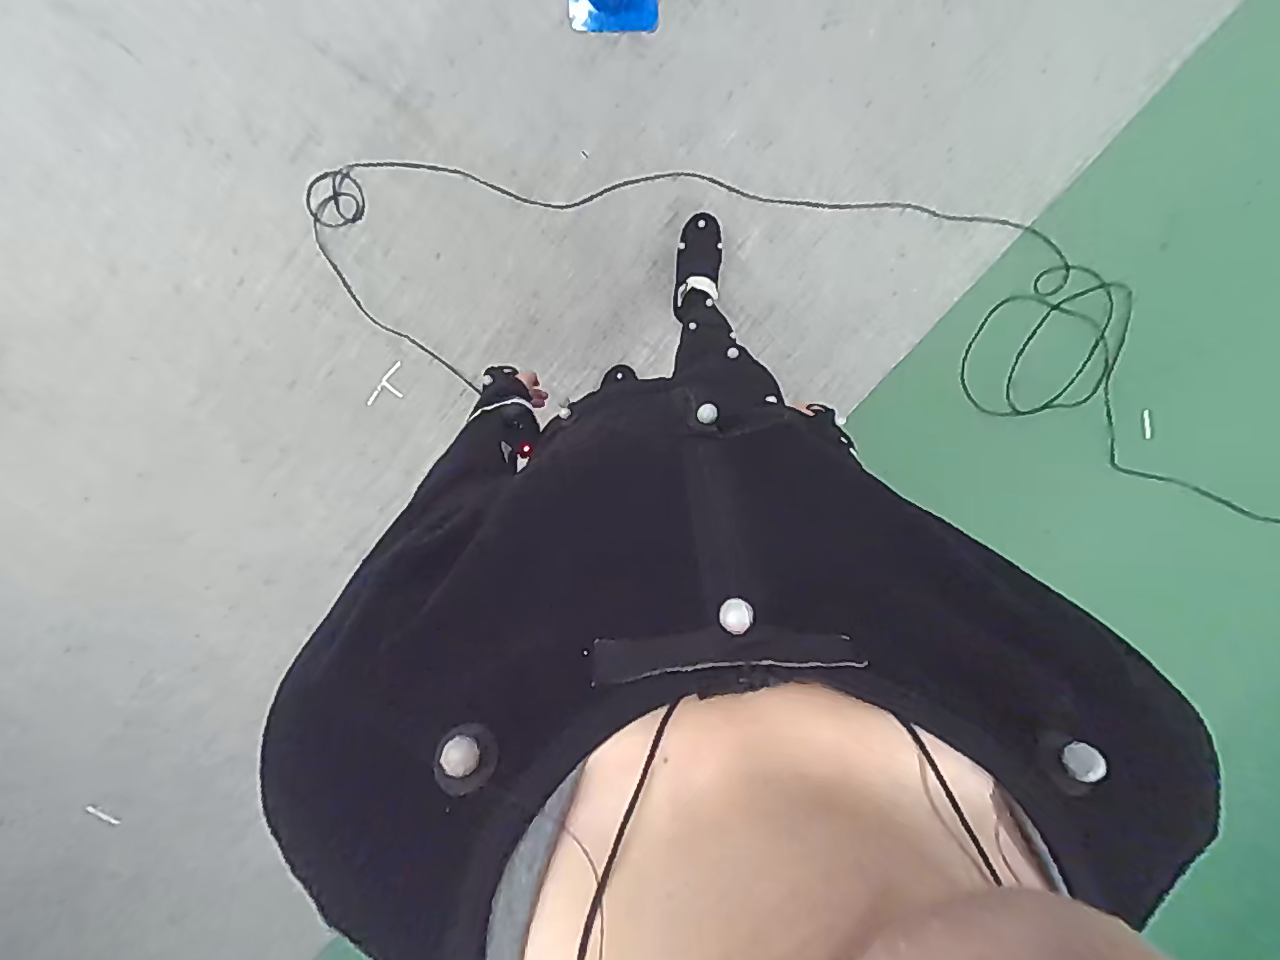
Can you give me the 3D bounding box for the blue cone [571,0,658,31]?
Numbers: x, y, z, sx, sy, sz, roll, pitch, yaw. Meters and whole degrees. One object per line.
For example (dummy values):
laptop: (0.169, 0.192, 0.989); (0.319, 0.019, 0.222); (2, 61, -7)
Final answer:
blue cone: (-0.054, -1.043, 1.009); (0.192, 0.380, 0.193); (-3, 105, -1)
